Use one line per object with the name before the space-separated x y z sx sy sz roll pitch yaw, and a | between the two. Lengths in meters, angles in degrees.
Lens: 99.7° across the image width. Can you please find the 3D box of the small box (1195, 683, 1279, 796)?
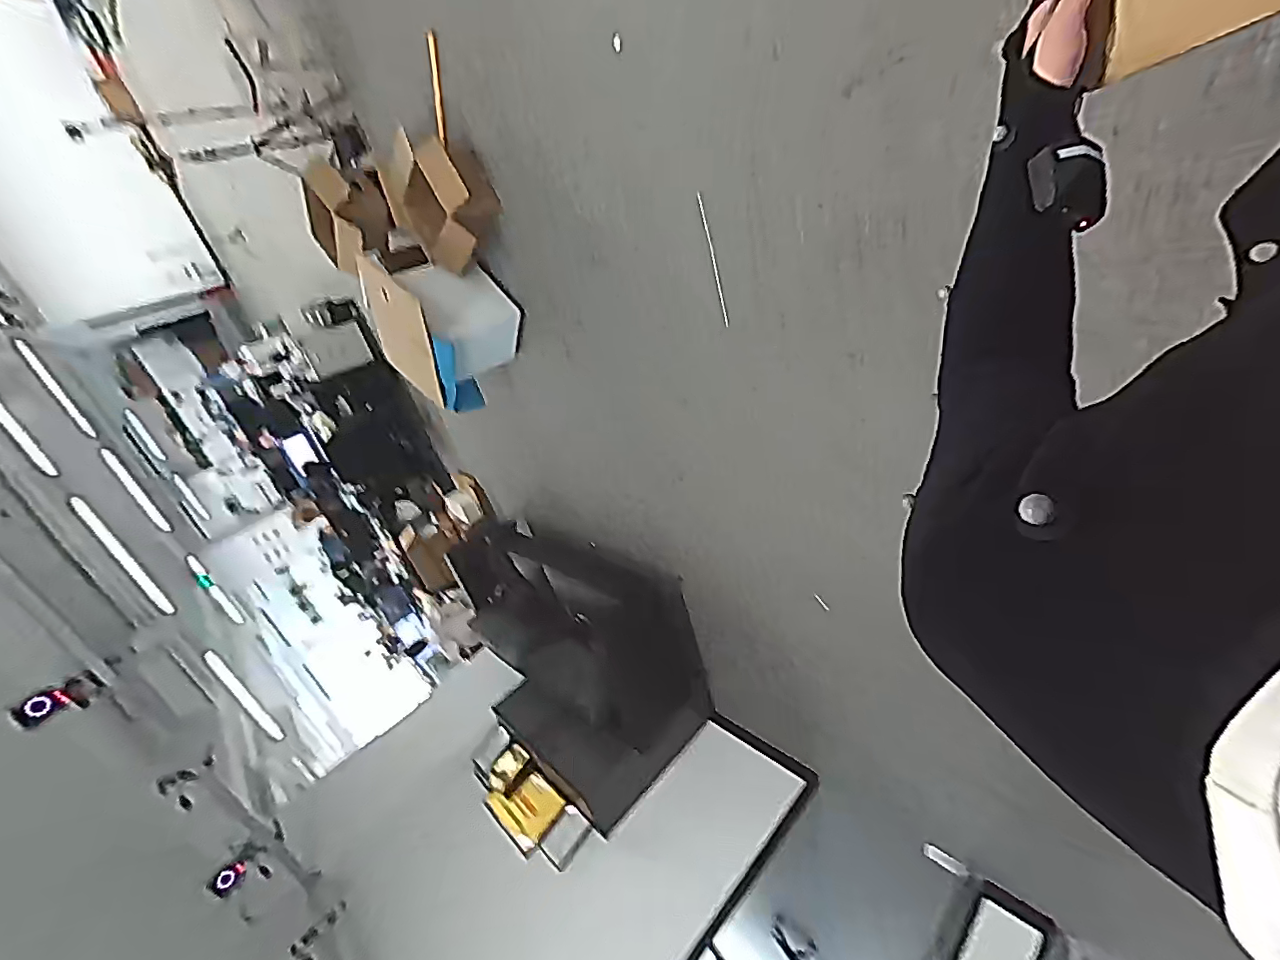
small box | 1.533 0.640 1.351 0.179 0.176 0.168 9 124 50
